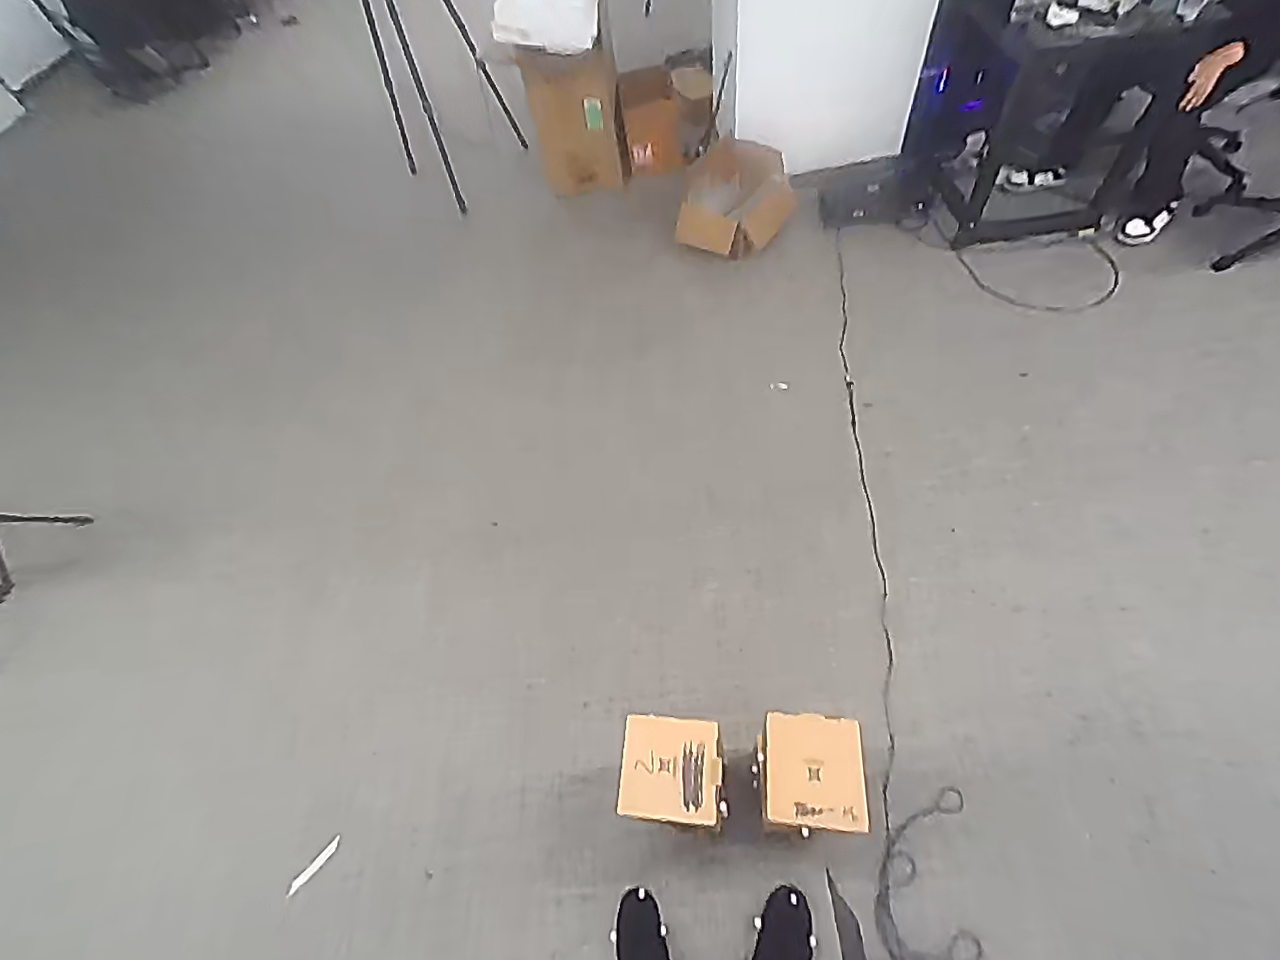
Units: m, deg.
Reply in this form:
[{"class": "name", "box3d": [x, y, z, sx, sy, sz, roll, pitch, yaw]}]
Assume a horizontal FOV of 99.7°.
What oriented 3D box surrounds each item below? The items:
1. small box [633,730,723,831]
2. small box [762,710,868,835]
[{"class": "small box", "box3d": [0.090, 0.652, 1.173, 0.179, 0.176, 0.168, 1, 57, 11]}, {"class": "small box", "box3d": [0.316, 0.549, 1.011, 0.168, 0.176, 0.179, 1, 56, 11]}]
